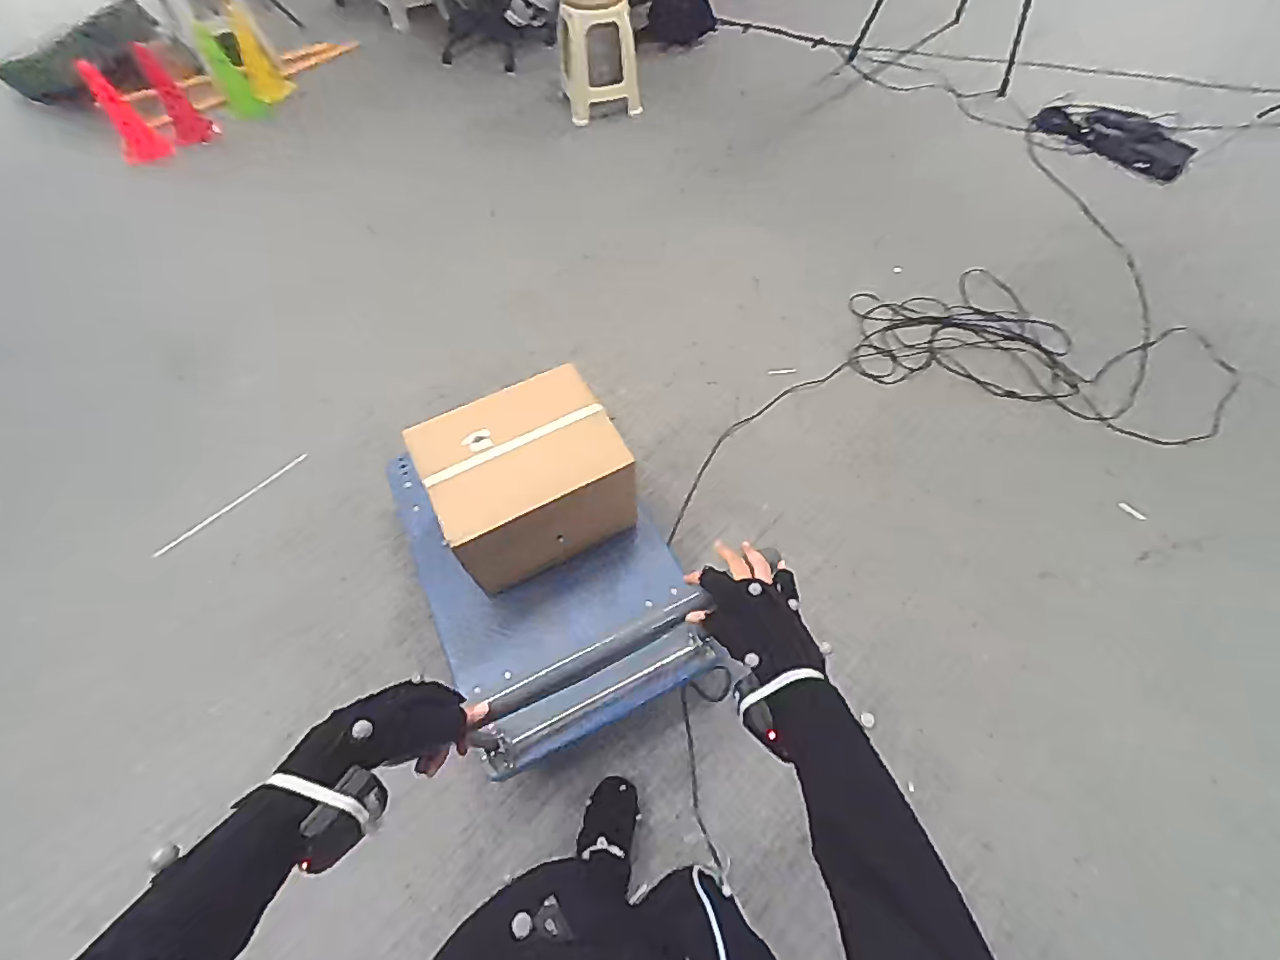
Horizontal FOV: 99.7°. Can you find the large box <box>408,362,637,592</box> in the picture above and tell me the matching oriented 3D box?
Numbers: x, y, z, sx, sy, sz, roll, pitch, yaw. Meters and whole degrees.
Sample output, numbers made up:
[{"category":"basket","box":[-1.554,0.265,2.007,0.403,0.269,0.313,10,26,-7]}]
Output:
[{"category":"large box","box":[-0.252,0.000,1.274,0.408,0.320,0.320,-28,64,-14]}]
